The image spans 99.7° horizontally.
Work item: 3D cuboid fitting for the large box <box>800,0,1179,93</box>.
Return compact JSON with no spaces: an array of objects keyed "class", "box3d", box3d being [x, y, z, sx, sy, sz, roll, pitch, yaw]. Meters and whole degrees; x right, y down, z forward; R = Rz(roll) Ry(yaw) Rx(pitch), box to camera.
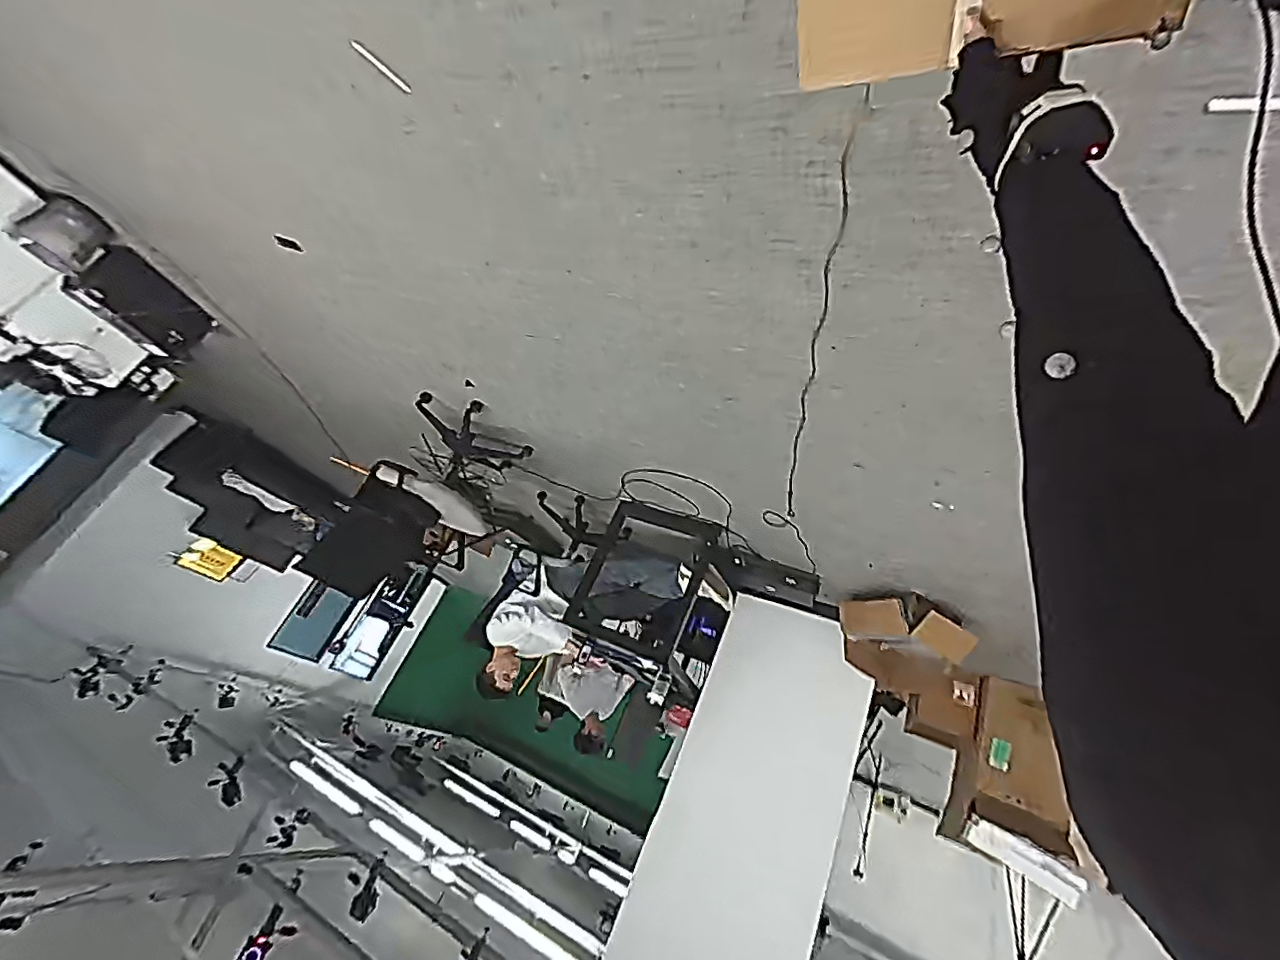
[{"class":"large box","box3d":[0.340,-0.645,0.491,0.320,0.320,0.408,13,137,30]}]
